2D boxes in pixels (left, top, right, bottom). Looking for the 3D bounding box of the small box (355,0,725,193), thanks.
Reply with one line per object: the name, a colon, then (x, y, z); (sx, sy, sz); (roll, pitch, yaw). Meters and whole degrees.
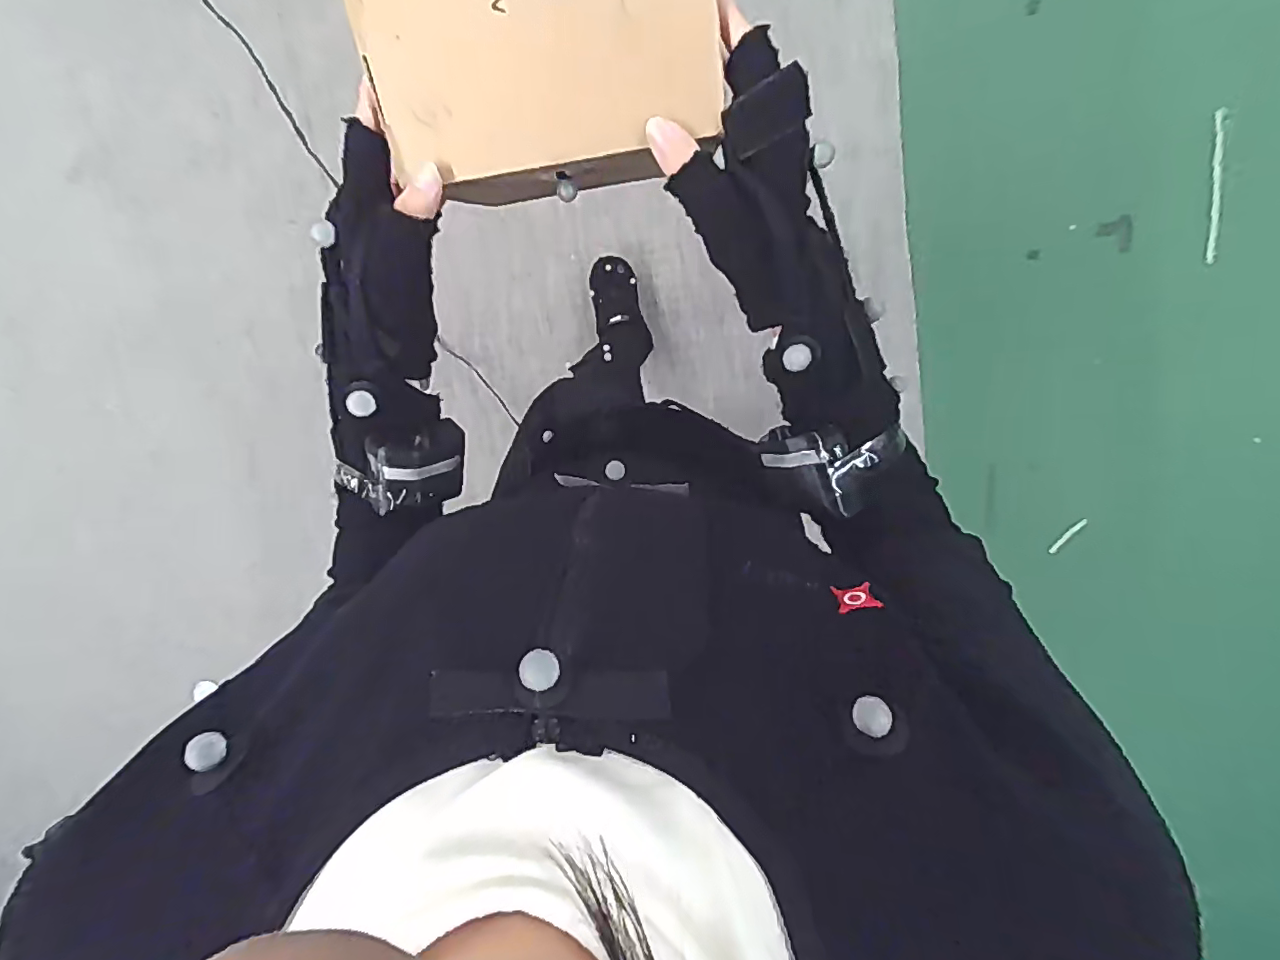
small box: (-0.049, -0.277, 0.322); (0.179, 0.176, 0.168); (-7, 116, 5)
